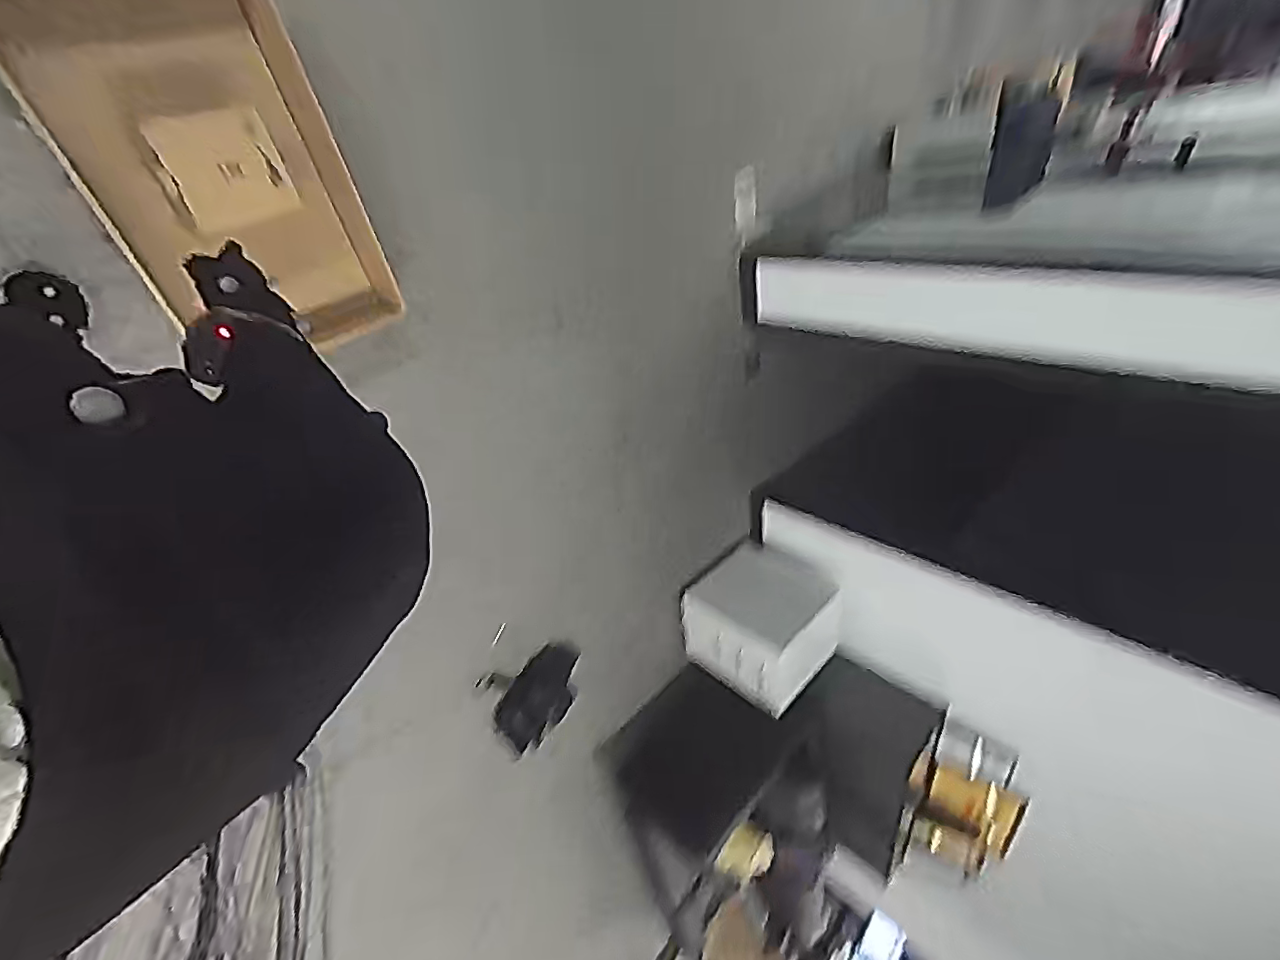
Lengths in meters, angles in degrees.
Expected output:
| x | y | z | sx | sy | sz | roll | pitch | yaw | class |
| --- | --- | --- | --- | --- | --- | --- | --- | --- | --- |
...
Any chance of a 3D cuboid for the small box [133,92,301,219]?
| x | y | z | sx | sy | sz | roll | pitch | yaw | class |
| --- | --- | --- | --- | --- | --- | --- | --- | --- | --- |
| -0.753 | -0.573 | 0.966 | 0.179 | 0.176 | 0.168 | -35 | 131 | -30 | small box |
